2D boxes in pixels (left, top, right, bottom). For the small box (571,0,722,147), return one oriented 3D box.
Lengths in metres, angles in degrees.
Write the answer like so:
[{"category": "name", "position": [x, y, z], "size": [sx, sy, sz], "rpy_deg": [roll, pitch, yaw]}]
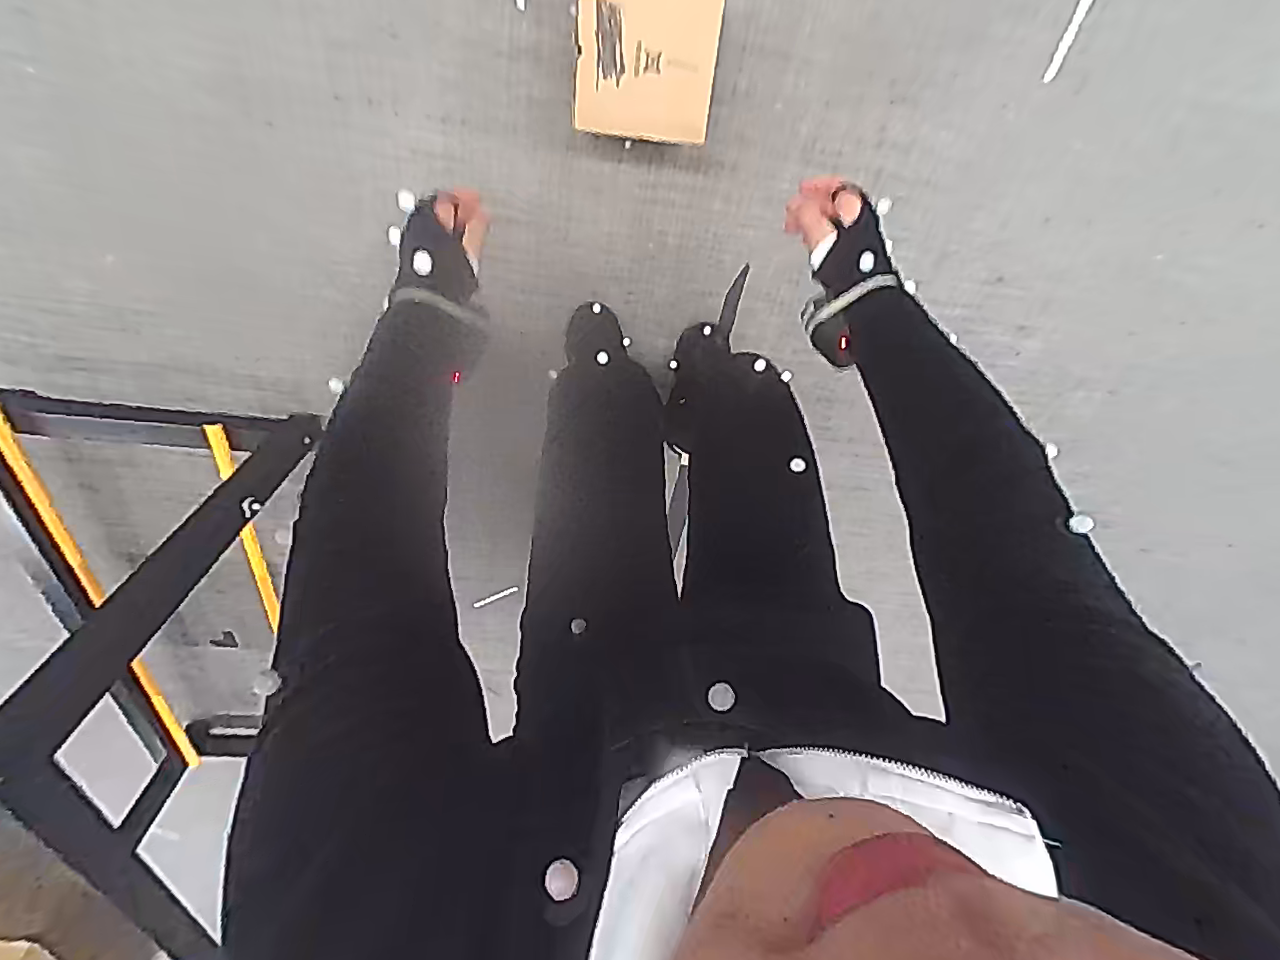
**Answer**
[{"category": "small box", "position": [0.001, -0.564, 0.737], "size": [0.179, 0.176, 0.168], "rpy_deg": [3, 125, -6]}]
